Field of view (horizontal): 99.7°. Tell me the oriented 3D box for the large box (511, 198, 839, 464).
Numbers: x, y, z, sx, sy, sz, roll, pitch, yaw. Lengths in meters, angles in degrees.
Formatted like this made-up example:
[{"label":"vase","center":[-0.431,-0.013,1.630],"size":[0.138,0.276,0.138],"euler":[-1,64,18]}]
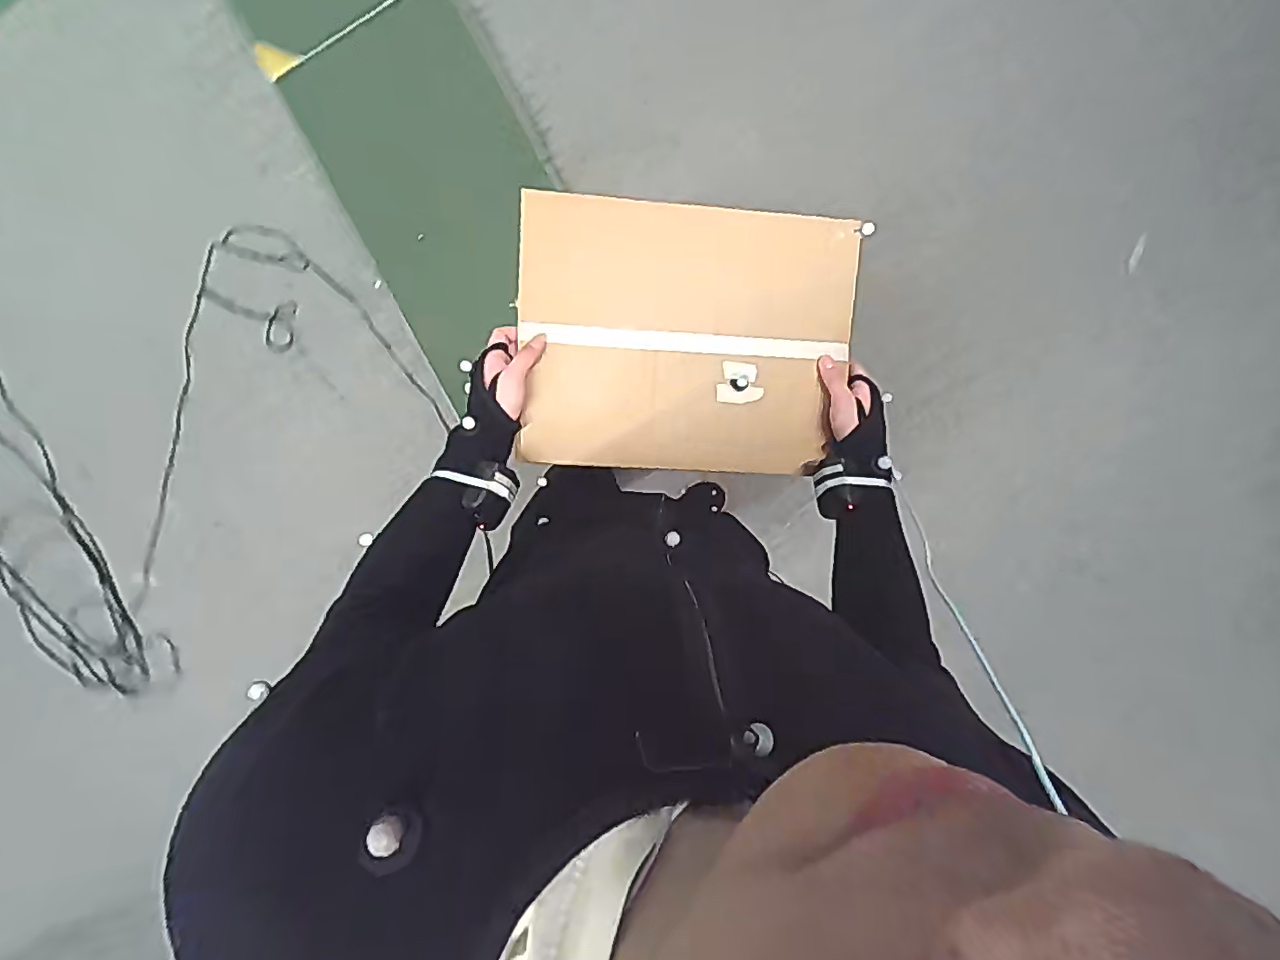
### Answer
[{"label":"large box","center":[0.030,-0.195,0.811],"size":[0.408,0.320,0.320],"euler":[1,99,-6]}]
